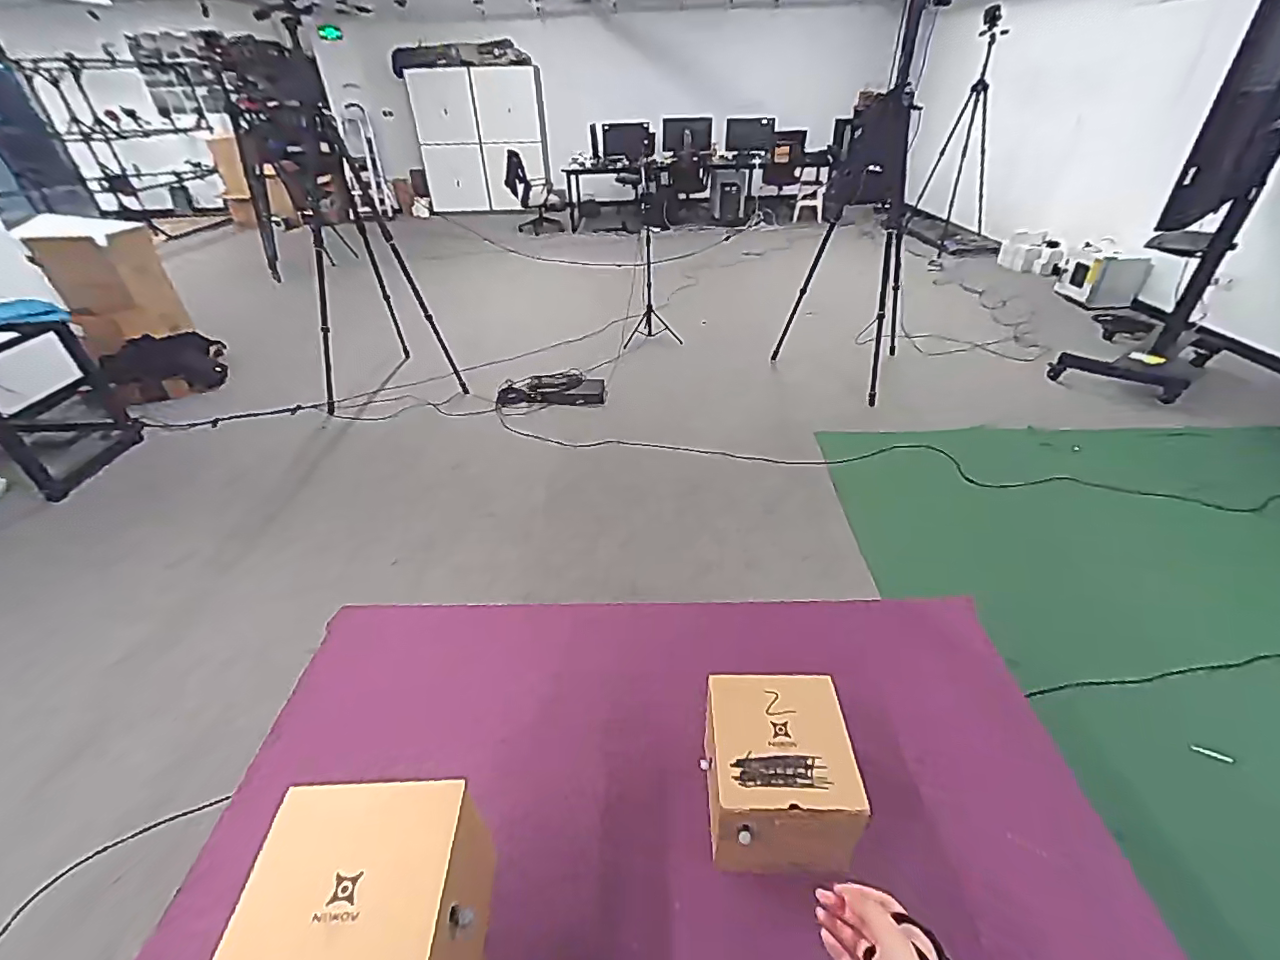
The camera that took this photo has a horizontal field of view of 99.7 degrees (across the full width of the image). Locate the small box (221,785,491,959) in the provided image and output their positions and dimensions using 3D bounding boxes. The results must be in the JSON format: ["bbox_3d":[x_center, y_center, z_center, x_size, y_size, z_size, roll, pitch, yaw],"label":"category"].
[{"bbox_3d":[-0.242,0.411,0.498,0.168,0.176,0.179,-2,38,-1],"label":"small box"}]
